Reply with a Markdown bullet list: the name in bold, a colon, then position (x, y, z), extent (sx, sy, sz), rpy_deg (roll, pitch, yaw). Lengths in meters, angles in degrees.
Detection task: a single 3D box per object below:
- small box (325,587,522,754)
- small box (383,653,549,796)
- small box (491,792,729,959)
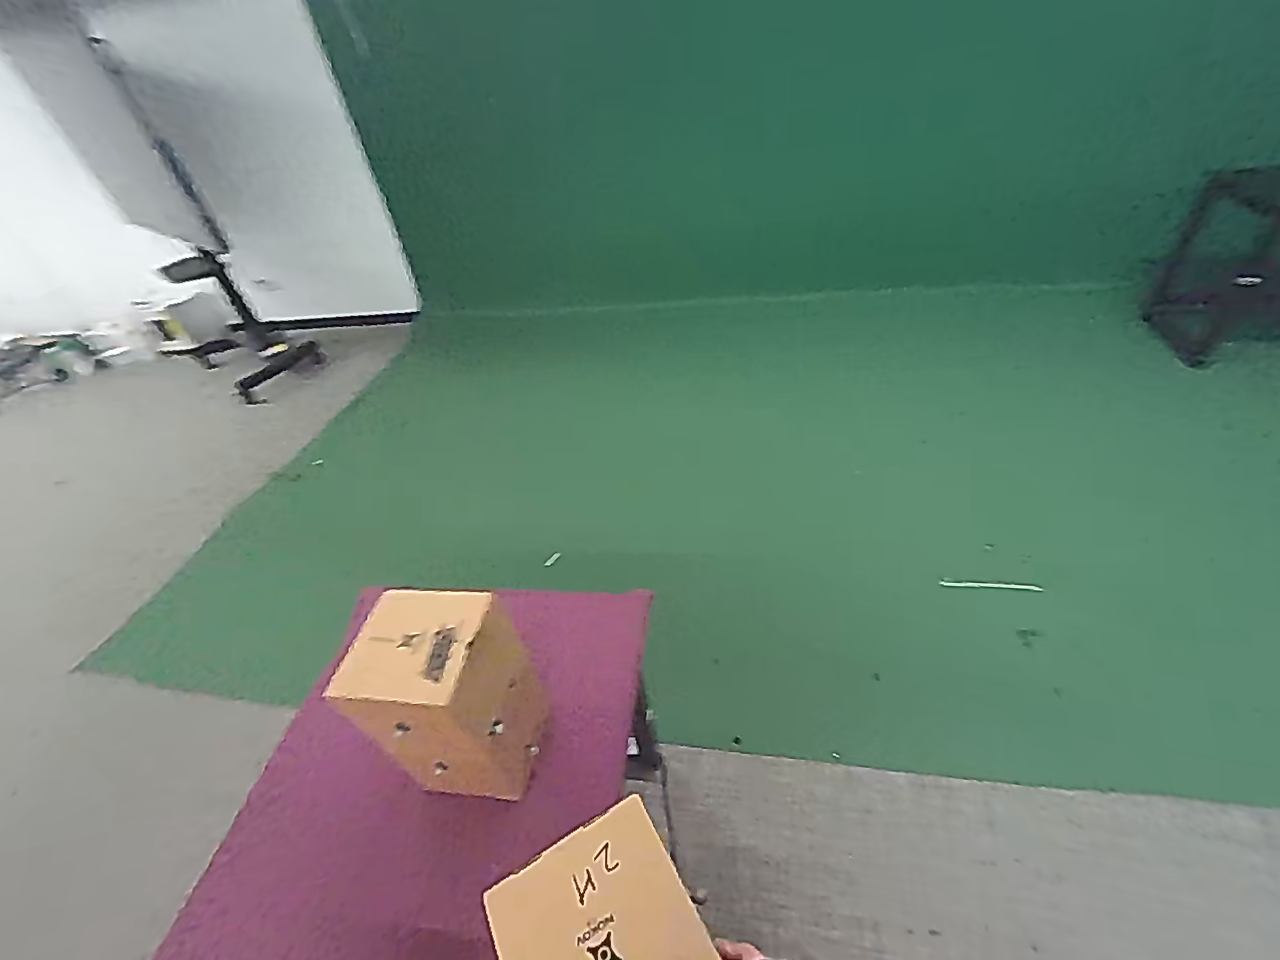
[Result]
- **small box**: position (-0.289, 0.271, 0.771), extent (0.179, 0.176, 0.168), rpy_deg (-1, 43, 13)
- **small box**: position (-0.268, 0.392, 0.879), extent (0.179, 0.176, 0.168), rpy_deg (0, 43, 13)
- **small box**: position (-0.015, 0.444, 0.511), extent (0.168, 0.176, 0.179), rpy_deg (-26, 45, -13)
